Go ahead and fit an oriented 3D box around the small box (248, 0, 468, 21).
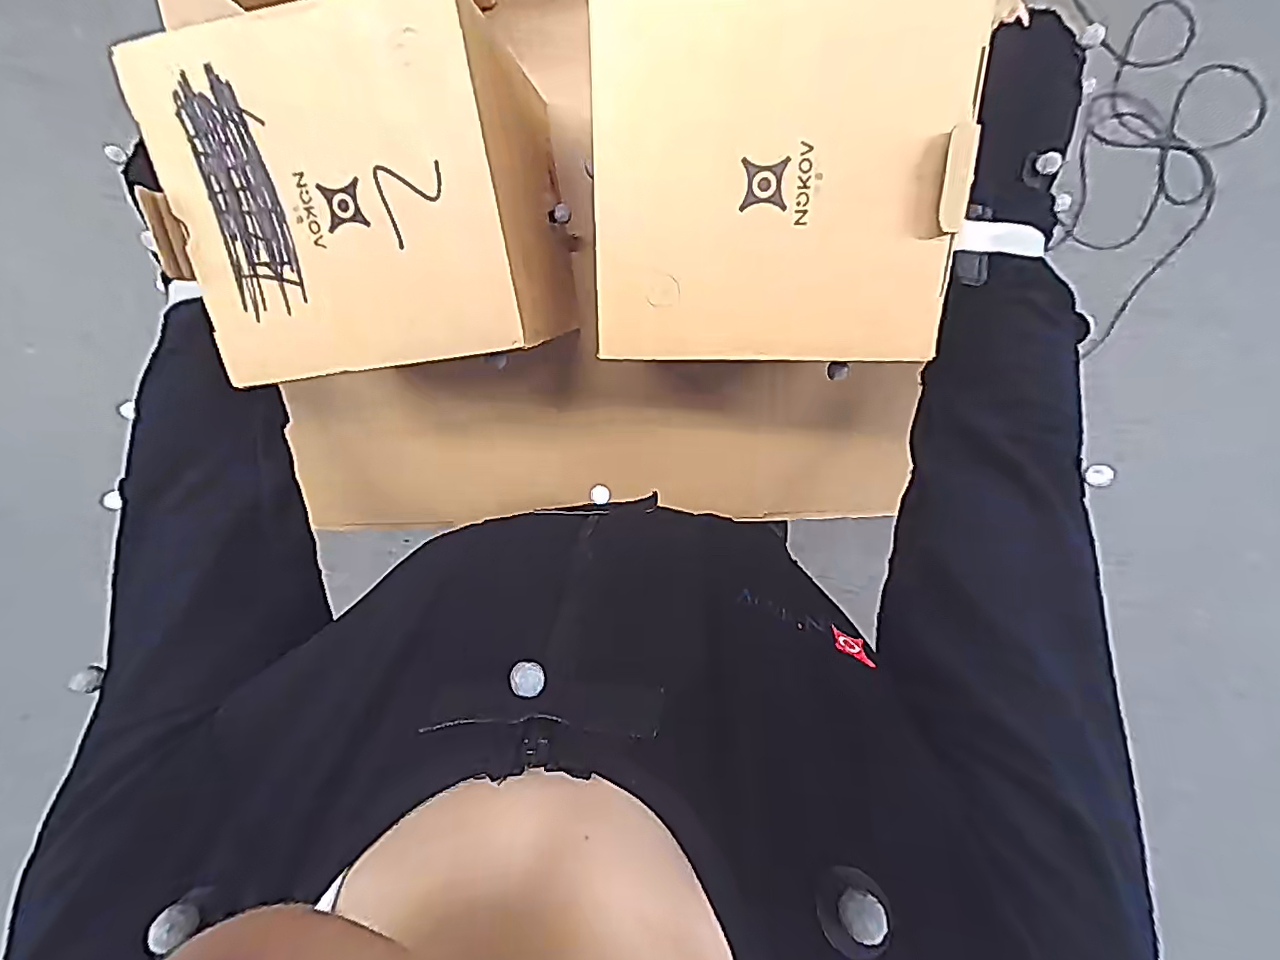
[{"bbox_3d":[-0.201,-0.395,0.294,0.168,0.176,0.179,-4,102,5],"label":"small box"}]
